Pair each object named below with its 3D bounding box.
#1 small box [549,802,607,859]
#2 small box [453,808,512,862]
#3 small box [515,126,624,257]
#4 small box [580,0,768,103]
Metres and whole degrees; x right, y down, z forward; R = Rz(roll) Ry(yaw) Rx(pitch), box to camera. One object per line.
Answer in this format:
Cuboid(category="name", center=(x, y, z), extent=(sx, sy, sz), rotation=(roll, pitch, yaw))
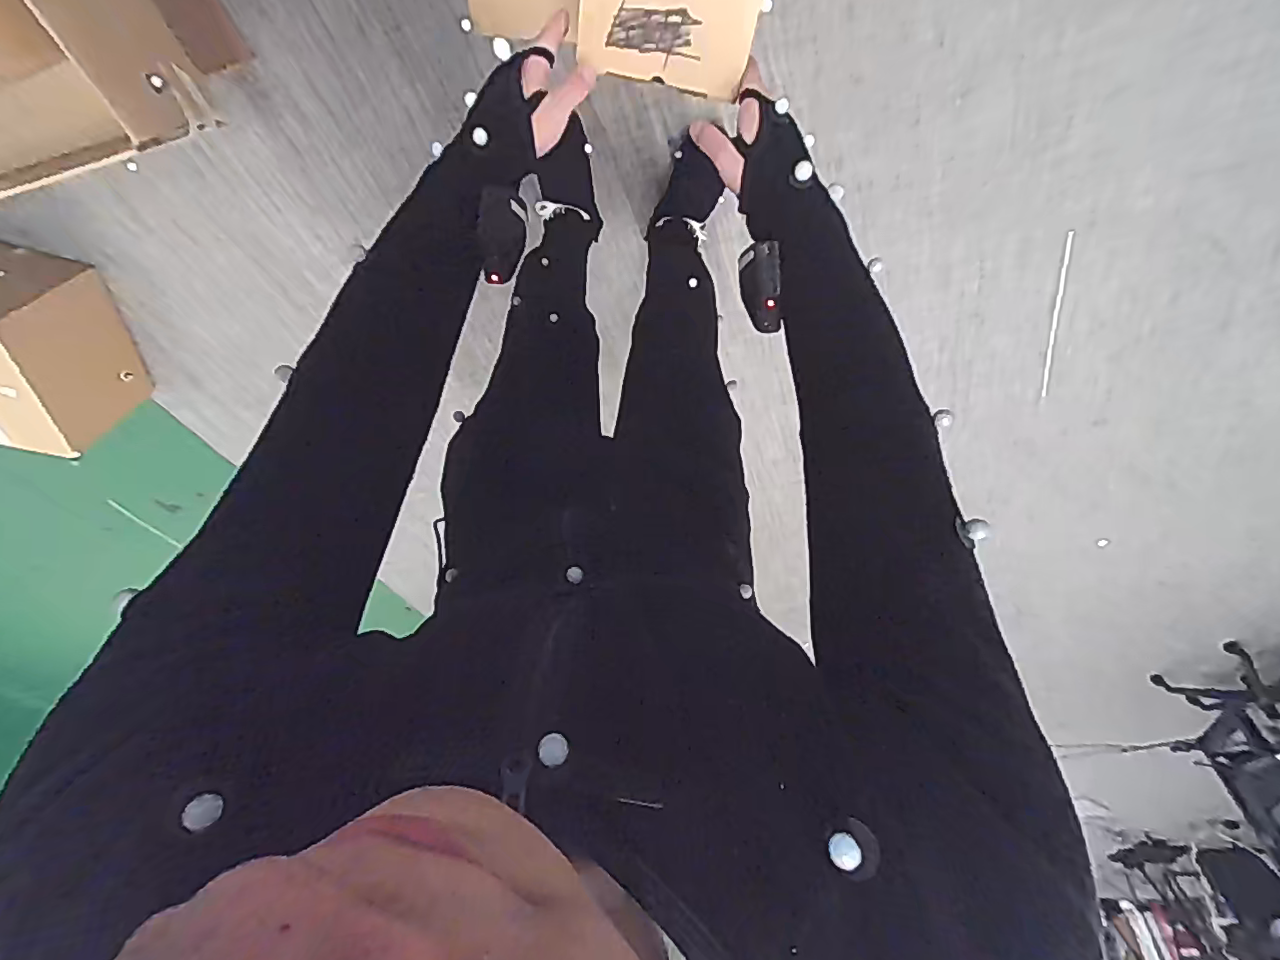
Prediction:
Cuboid(category="small box", center=(-0.248, 1.435, 2.213), extent=(0.168, 0.176, 0.179), rotation=(-17, 132, 20))
Cuboid(category="small box", center=(-0.672, 1.533, 2.335), extent=(0.168, 0.176, 0.179), rotation=(-9, 134, 12))
Cuboid(category="small box", center=(-0.144, -0.618, 1.150), extent=(0.168, 0.176, 0.179), rotation=(24, 129, -13))
Cuboid(category="small box", center=(0.042, -0.504, 0.523), extent=(0.168, 0.176, 0.179), rotation=(9, 136, -5))
